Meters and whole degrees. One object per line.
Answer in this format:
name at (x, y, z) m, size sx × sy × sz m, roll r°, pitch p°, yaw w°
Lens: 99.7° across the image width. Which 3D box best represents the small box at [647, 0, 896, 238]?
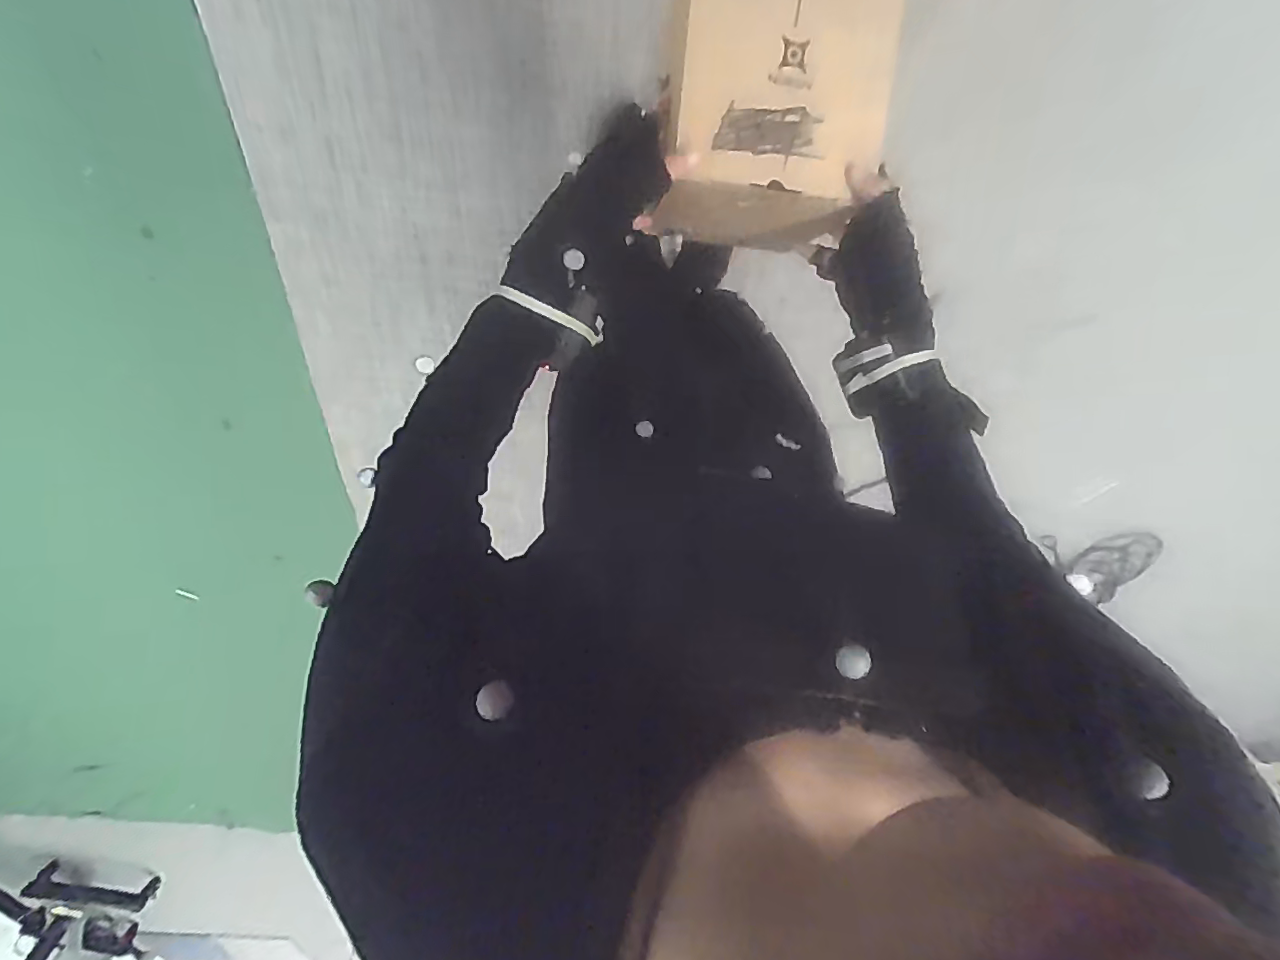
small box at (0.103, -0.339, 0.496) m, size 0.168 × 0.176 × 0.179 m, roll 4°, pitch 99°, yaw -8°
